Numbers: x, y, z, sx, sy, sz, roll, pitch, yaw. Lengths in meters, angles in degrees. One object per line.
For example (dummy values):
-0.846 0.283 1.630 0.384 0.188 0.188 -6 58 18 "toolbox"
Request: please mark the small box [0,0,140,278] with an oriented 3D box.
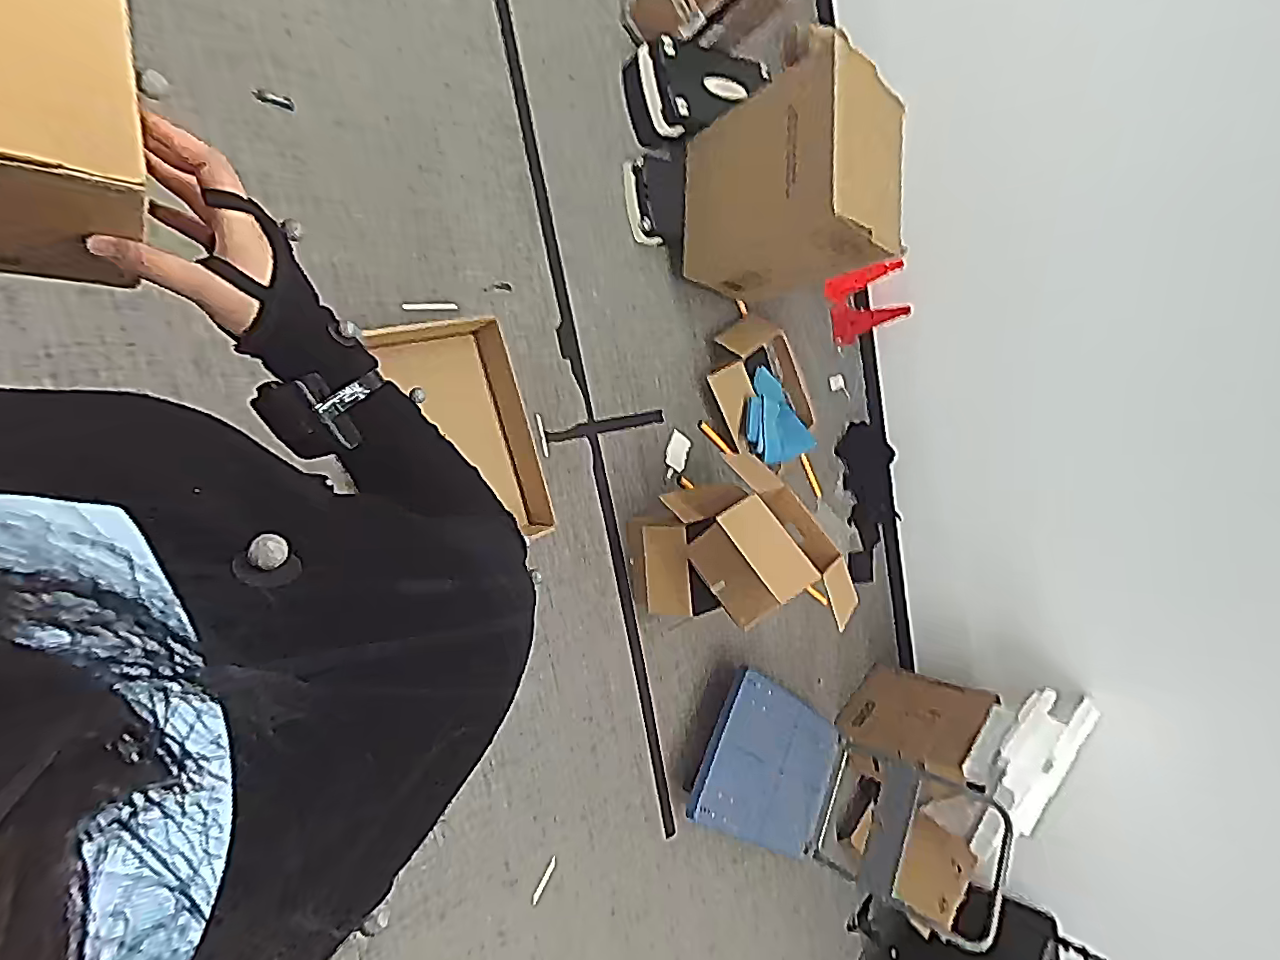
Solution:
-0.379 -0.226 0.275 0.168 0.176 0.179 -7 93 -45 "small box"
